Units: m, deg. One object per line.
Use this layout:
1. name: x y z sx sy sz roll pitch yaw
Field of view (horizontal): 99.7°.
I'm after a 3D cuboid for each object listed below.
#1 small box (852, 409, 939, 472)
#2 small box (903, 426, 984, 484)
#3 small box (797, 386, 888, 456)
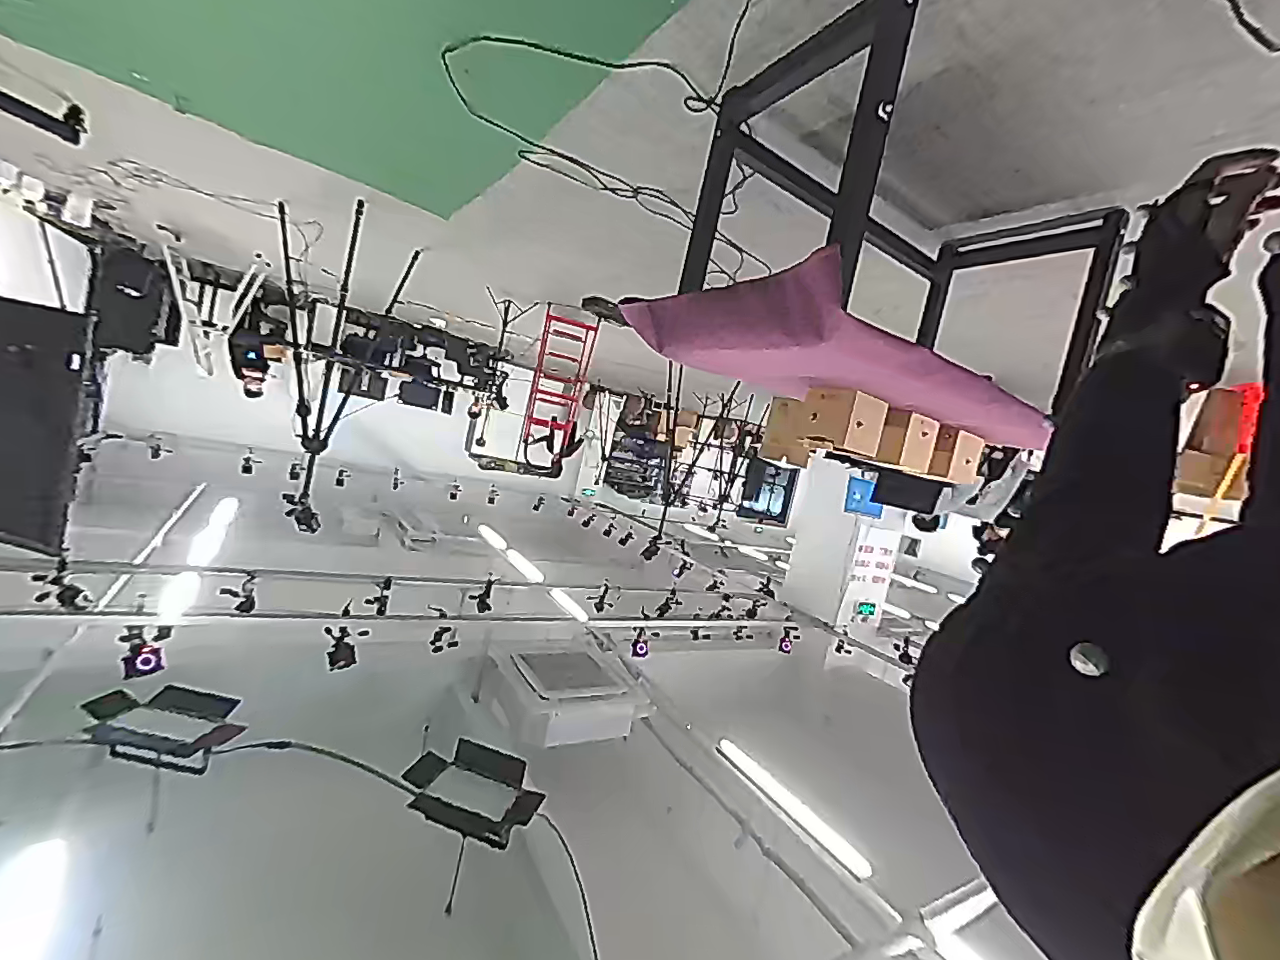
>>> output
1. small box: 0.817 -0.133 1.728 0.168 0.176 0.179 10 -176 -34
2. small box: 1.038 -0.091 1.849 0.179 0.176 0.168 9 -175 -33
3. small box: 0.594 -0.174 1.581 0.179 0.176 0.168 9 -175 -38
